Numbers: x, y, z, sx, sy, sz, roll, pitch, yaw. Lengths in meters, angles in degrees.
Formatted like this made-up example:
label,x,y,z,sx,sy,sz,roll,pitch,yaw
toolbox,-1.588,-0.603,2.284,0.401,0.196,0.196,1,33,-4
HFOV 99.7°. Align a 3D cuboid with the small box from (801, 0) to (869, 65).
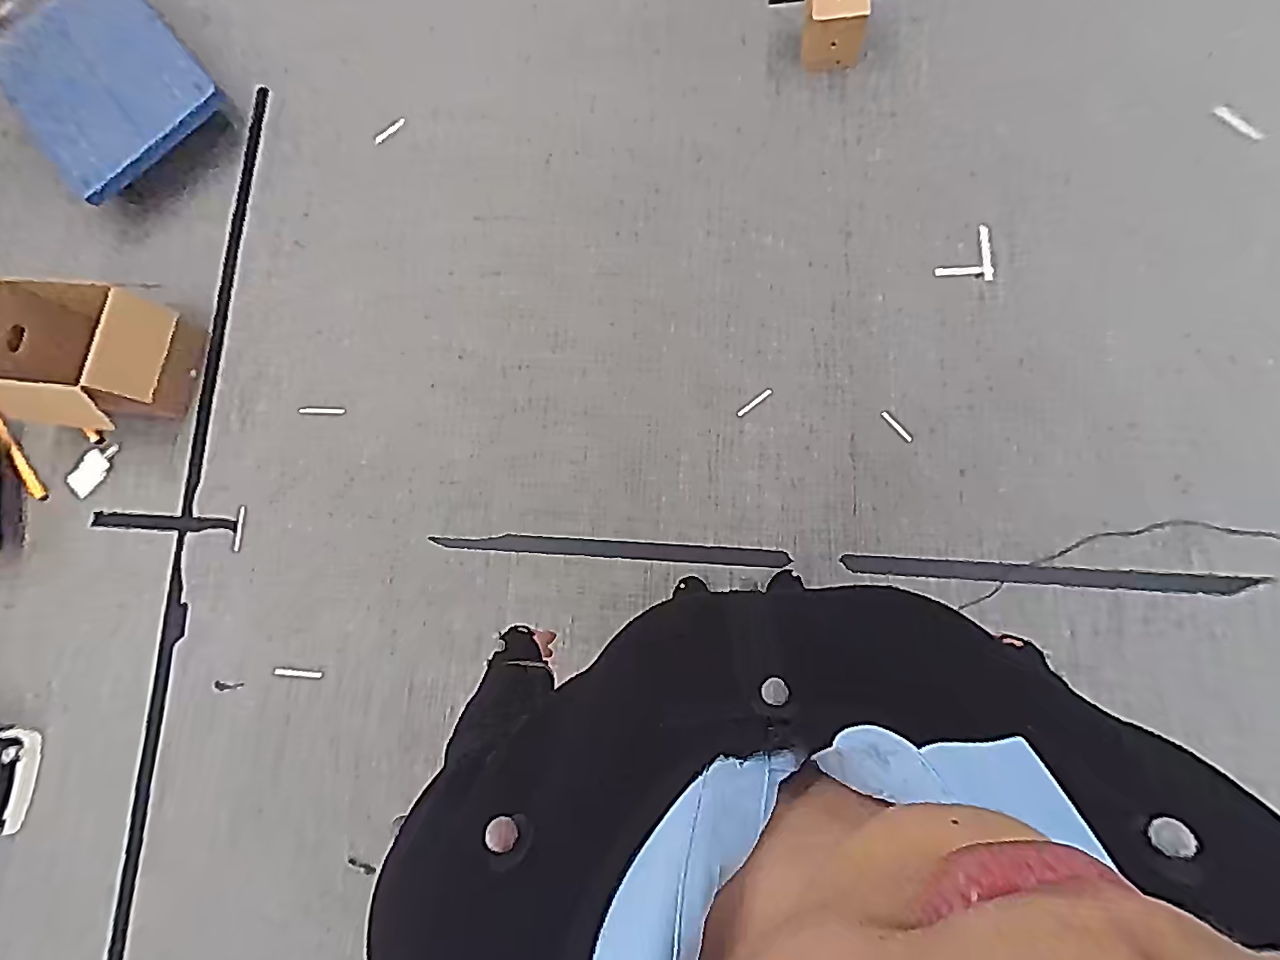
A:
label,x,y,z,sx,sy,sz,roll,pitch,yaw
small box,0.590,-1.410,1.651,0.168,0.176,0.179,-1,80,6
